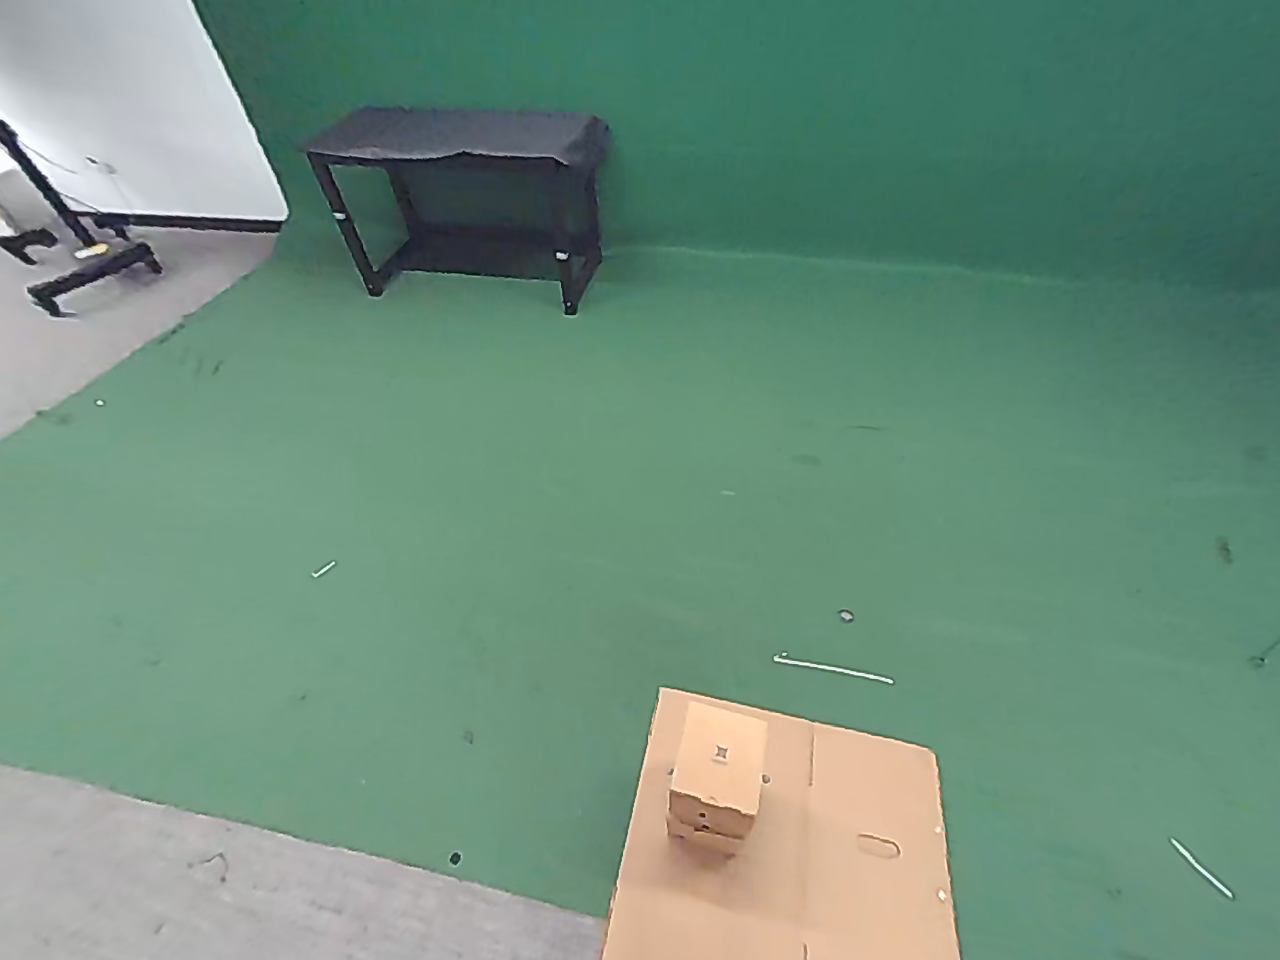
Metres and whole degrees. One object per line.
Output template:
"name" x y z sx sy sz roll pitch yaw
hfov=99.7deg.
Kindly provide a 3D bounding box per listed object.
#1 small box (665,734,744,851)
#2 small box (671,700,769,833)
"small box" 0.157 0.703 1.214 0.168 0.176 0.179 10 47 12
"small box" 0.159 0.584 1.102 0.168 0.176 0.179 11 49 12
